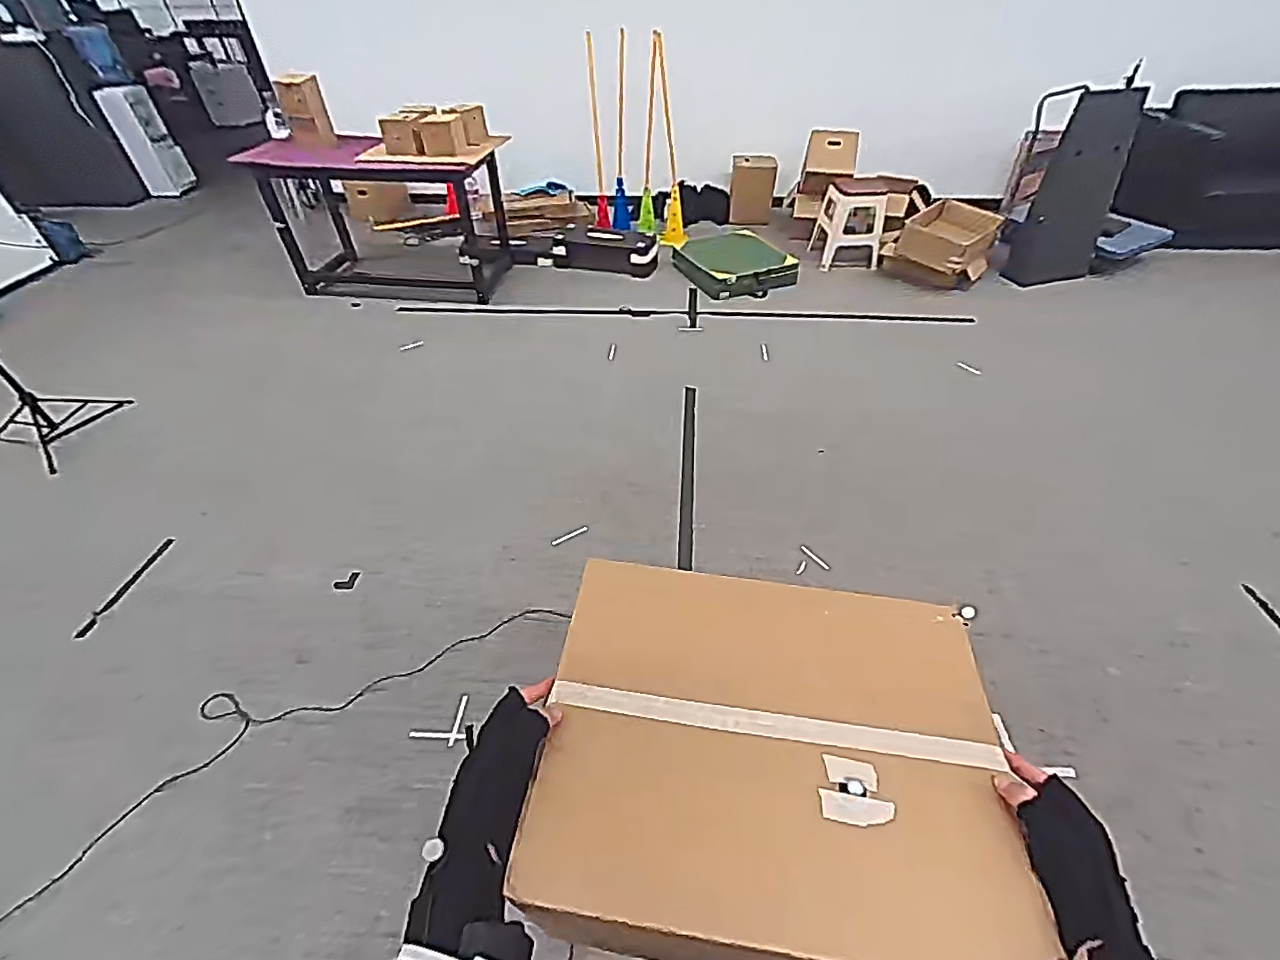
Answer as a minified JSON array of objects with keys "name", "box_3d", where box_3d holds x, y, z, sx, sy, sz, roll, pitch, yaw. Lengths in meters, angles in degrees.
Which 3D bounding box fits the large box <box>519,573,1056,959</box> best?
[{"name":"large box","box_3d":[0.118,0.338,0.601,0.408,0.320,0.320,7,47,5]}]
